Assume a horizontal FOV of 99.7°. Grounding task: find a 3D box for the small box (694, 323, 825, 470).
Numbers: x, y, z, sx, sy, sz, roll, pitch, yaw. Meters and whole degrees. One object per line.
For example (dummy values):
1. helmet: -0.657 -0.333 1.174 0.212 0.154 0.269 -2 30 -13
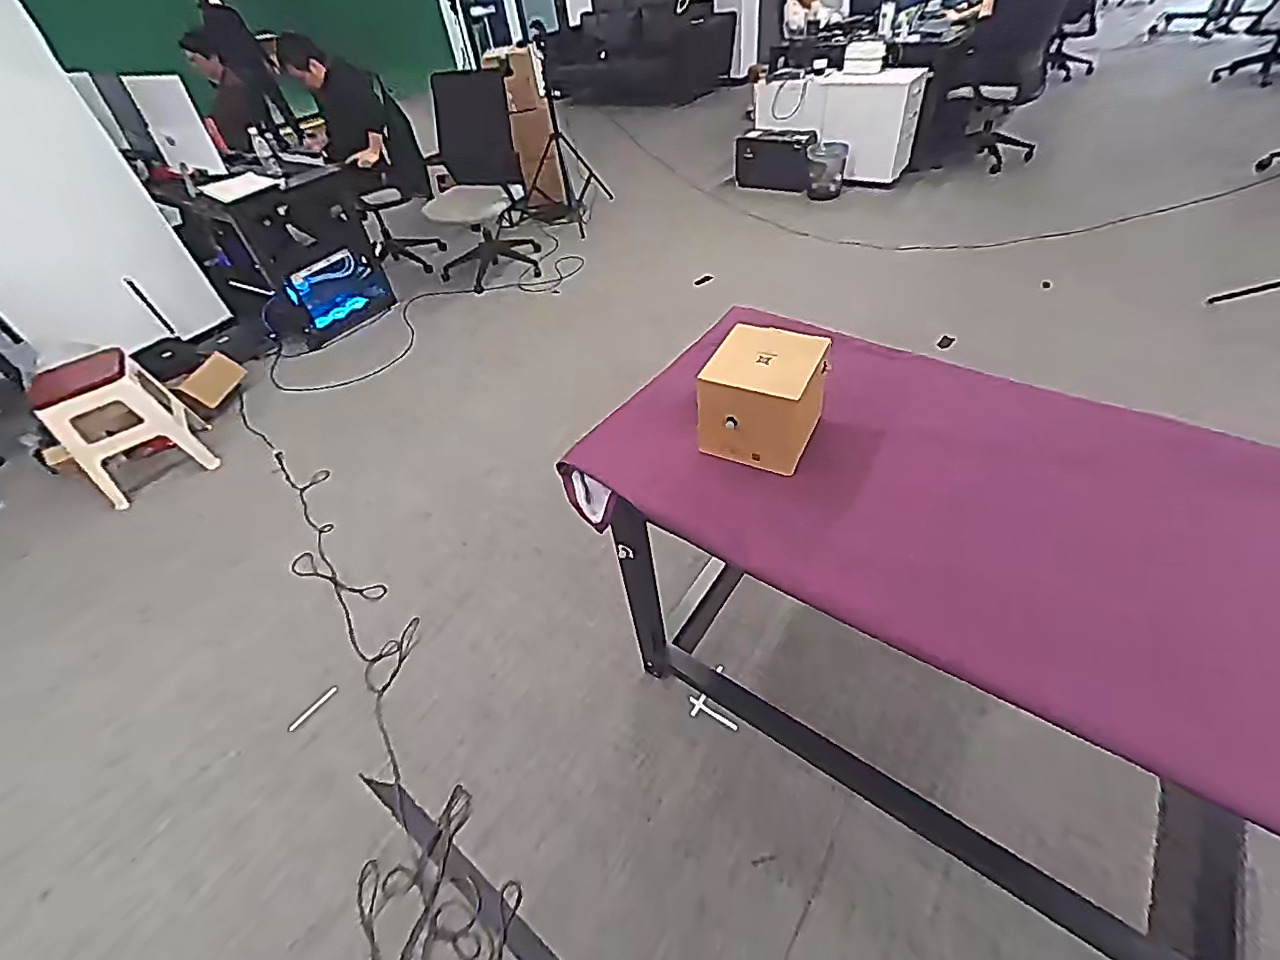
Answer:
1. small box: 0.206 -0.143 0.928 0.168 0.176 0.179 17 51 24
